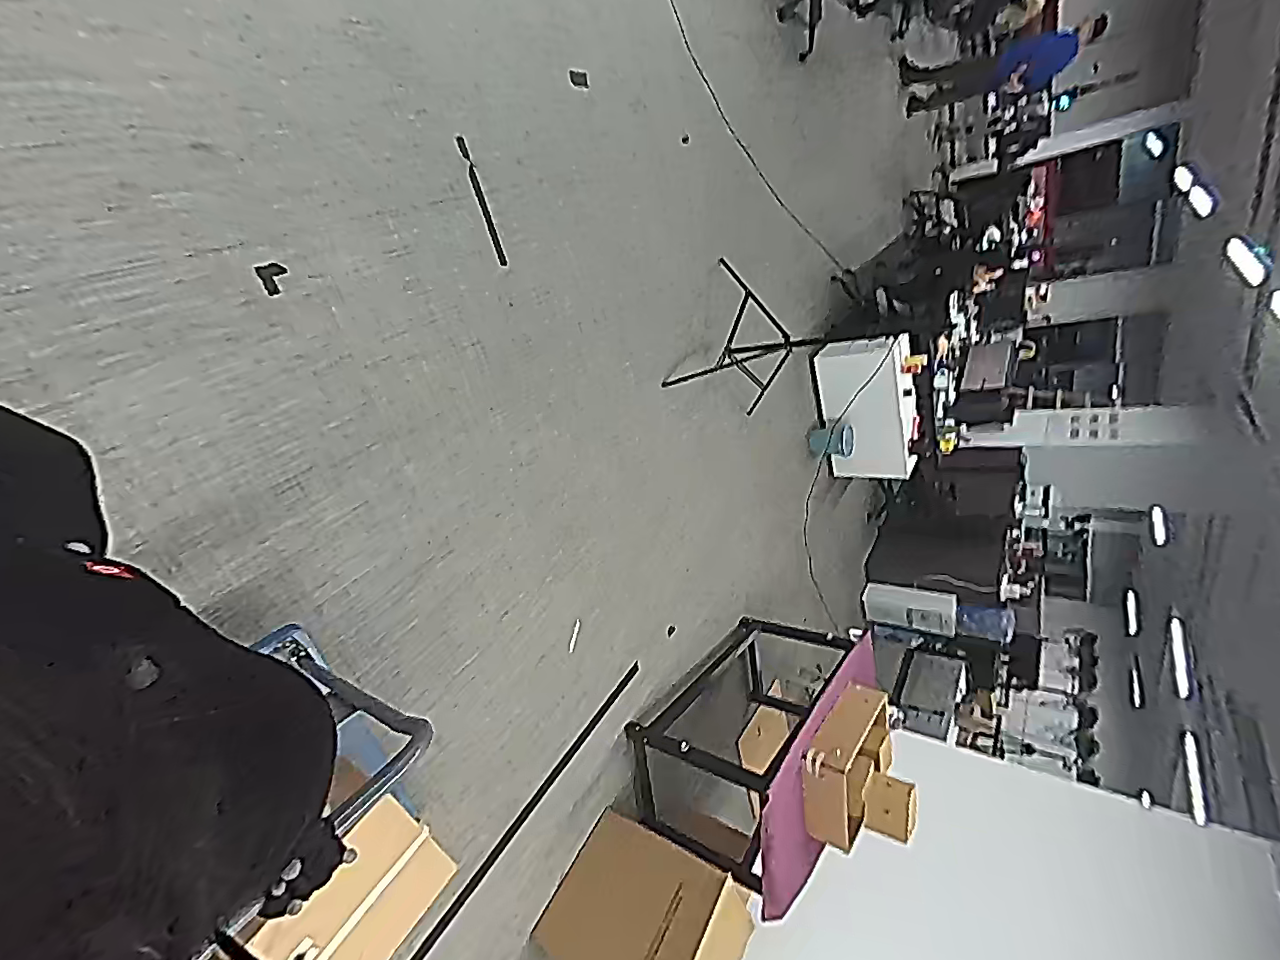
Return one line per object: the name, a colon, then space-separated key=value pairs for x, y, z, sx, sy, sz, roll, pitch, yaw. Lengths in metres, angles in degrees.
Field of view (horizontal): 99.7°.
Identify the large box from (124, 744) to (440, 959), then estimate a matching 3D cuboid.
large box: x=-0.722 y=0.860 z=1.133 sx=0.408 sy=0.320 sz=0.320 roll=-46 pitch=125 yaw=-40
